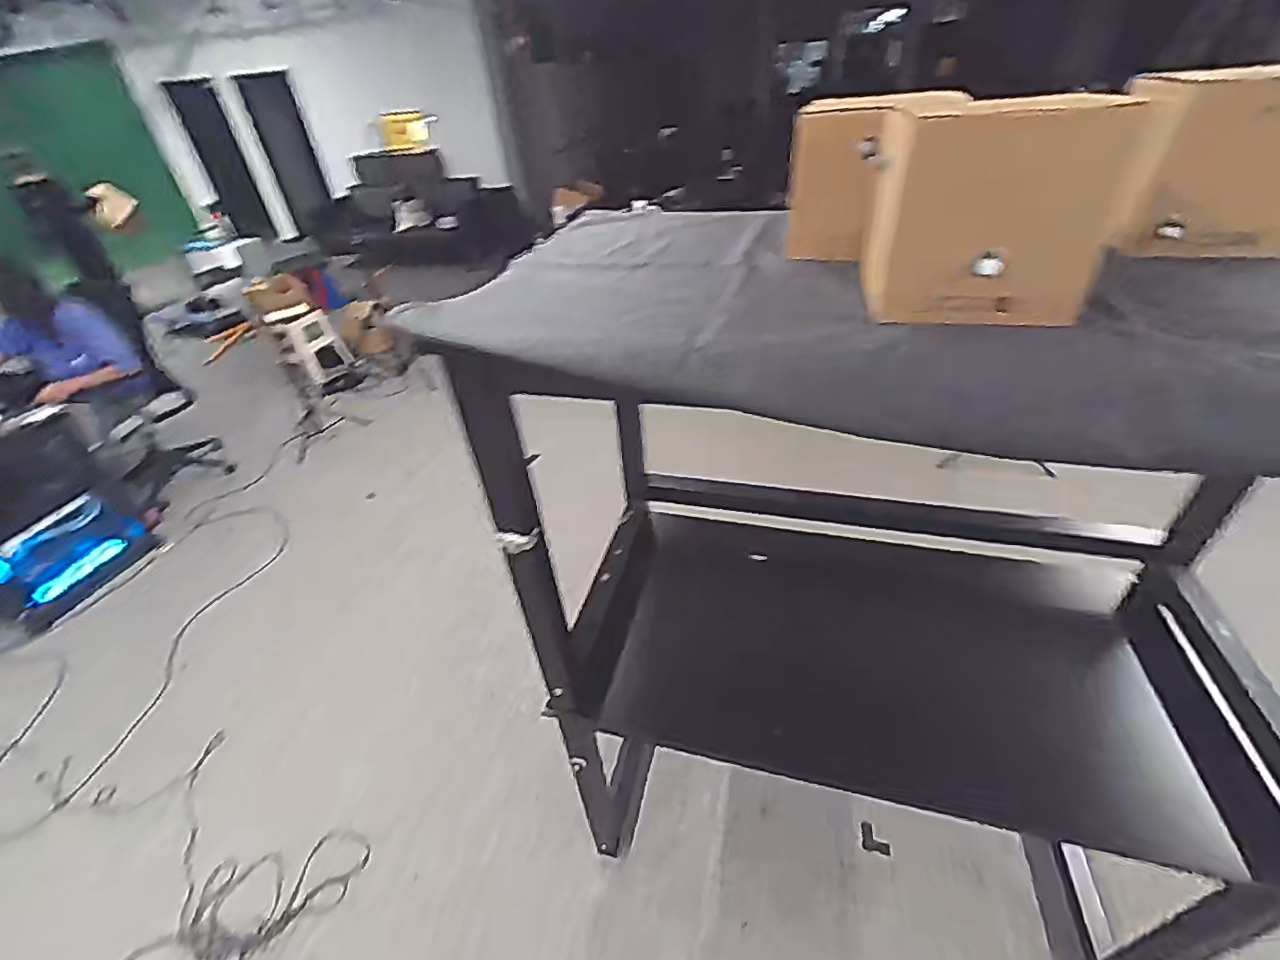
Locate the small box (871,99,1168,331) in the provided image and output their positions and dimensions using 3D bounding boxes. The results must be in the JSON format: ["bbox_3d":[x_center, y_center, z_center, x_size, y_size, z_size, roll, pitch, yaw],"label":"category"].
[{"bbox_3d":[0.326,-0.256,0.516,0.168,0.176,0.179,6,37,14],"label":"small box"}]

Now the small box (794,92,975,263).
[{"bbox_3d":[0.307,-0.386,0.696,0.179,0.176,0.168,10,40,19],"label":"small box"}]

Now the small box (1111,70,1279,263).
[{"bbox_3d":[0.663,-0.354,0.613,0.168,0.176,0.179,9,38,17],"label":"small box"}]
